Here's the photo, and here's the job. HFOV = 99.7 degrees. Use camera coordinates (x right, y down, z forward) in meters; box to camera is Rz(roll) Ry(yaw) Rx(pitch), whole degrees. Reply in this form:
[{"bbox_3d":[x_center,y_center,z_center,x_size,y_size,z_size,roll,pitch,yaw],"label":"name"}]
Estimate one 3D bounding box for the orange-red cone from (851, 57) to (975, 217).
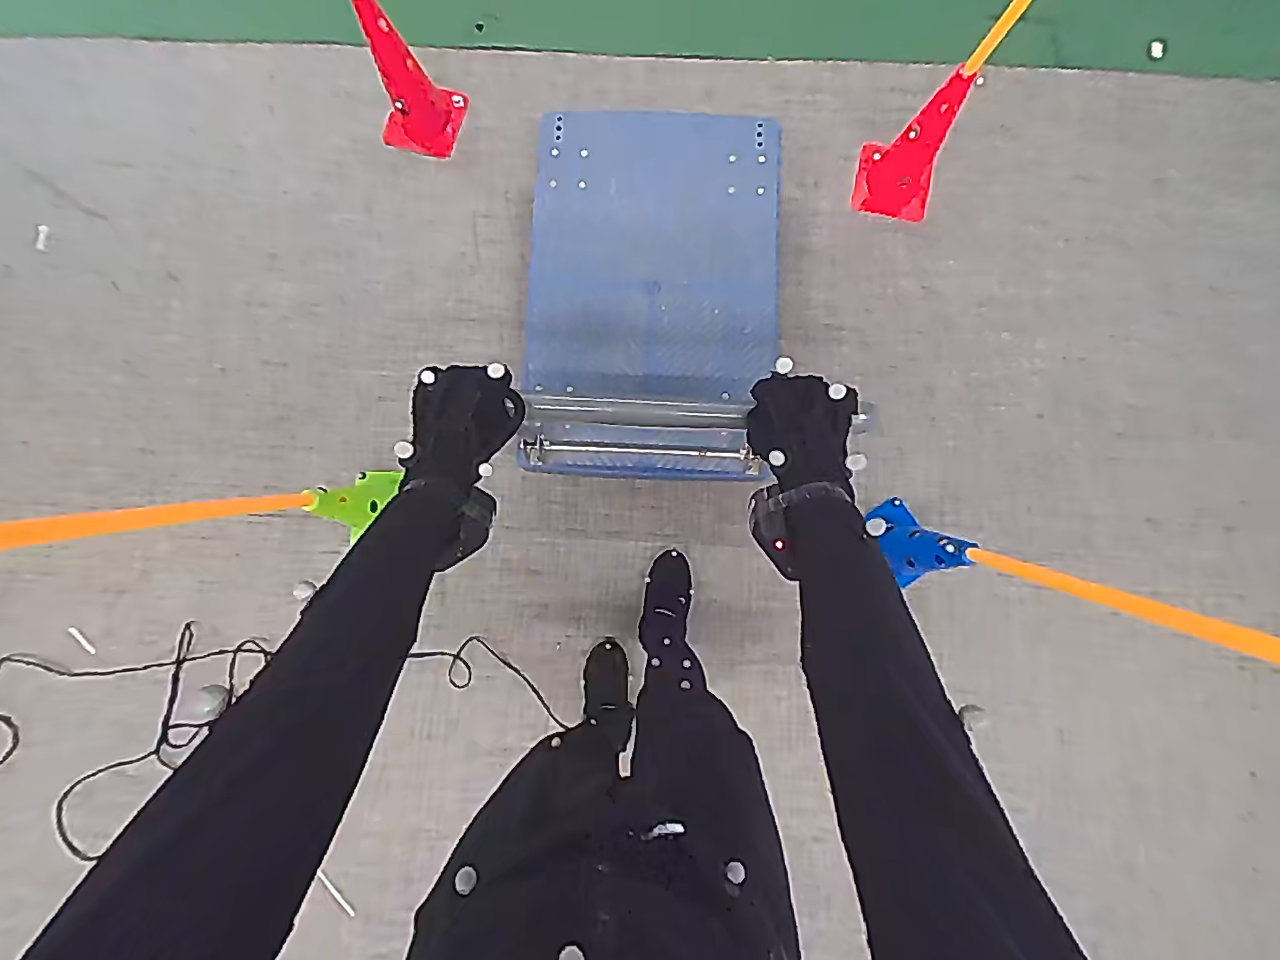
[{"bbox_3d":[0.671,-0.823,1.272,0.198,0.360,0.199,14,85,3],"label":"orange-red cone"}]
